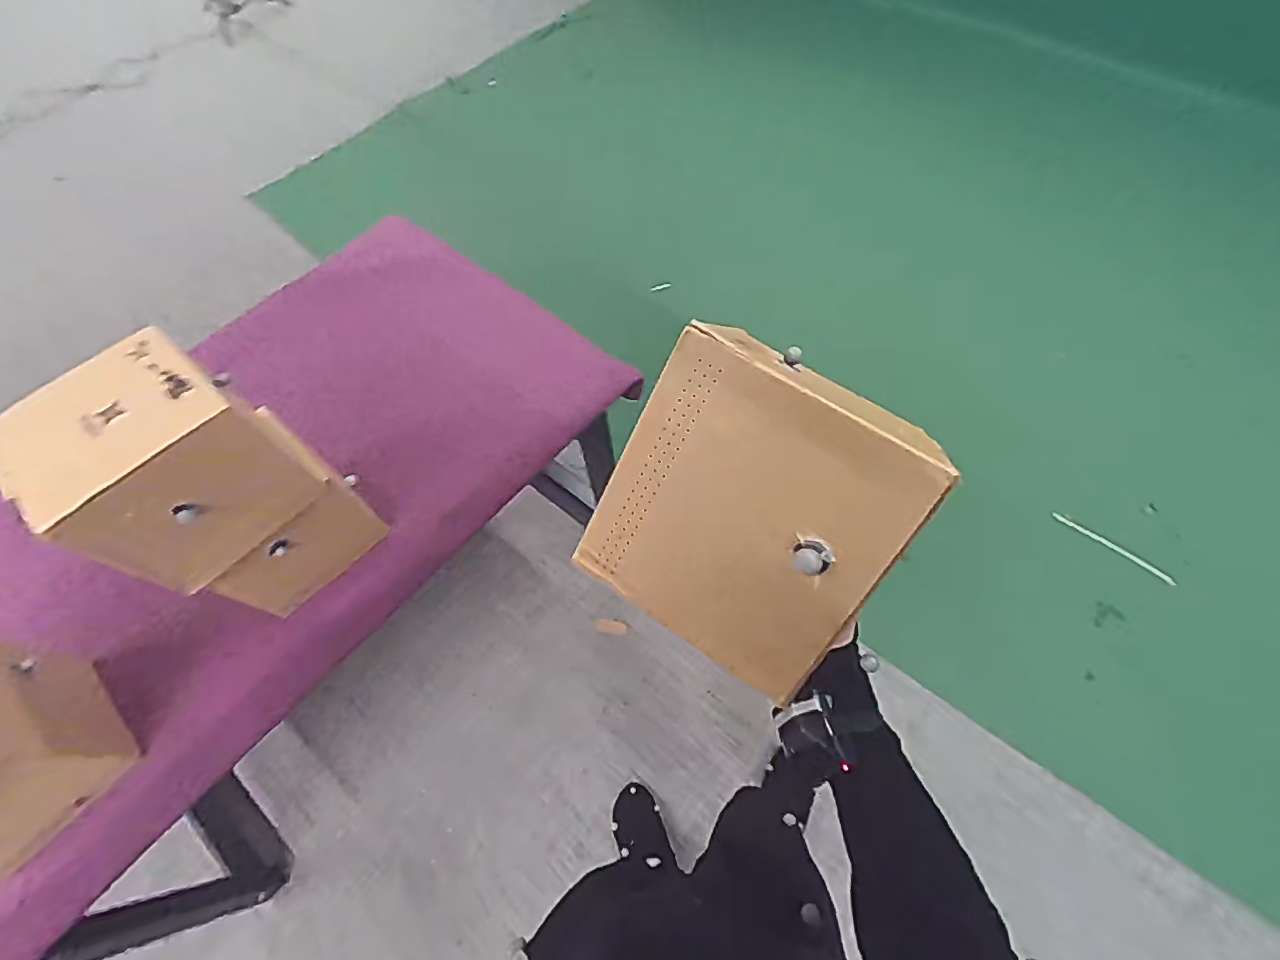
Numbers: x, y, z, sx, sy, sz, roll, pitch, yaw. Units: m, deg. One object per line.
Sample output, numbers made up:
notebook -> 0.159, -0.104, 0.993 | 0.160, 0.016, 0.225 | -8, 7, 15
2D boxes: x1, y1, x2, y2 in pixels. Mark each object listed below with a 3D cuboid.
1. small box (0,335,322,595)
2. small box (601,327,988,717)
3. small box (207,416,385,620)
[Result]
small box -> -0.486, -0.007, 0.566 | 0.168, 0.176, 0.179 | 37, 70, 20
small box -> 0.093, 0.015, 0.382 | 0.176, 0.168, 0.179 | 32, 111, 11
small box -> -0.484, 0.057, 0.717 | 0.168, 0.176, 0.179 | 38, 69, 21
